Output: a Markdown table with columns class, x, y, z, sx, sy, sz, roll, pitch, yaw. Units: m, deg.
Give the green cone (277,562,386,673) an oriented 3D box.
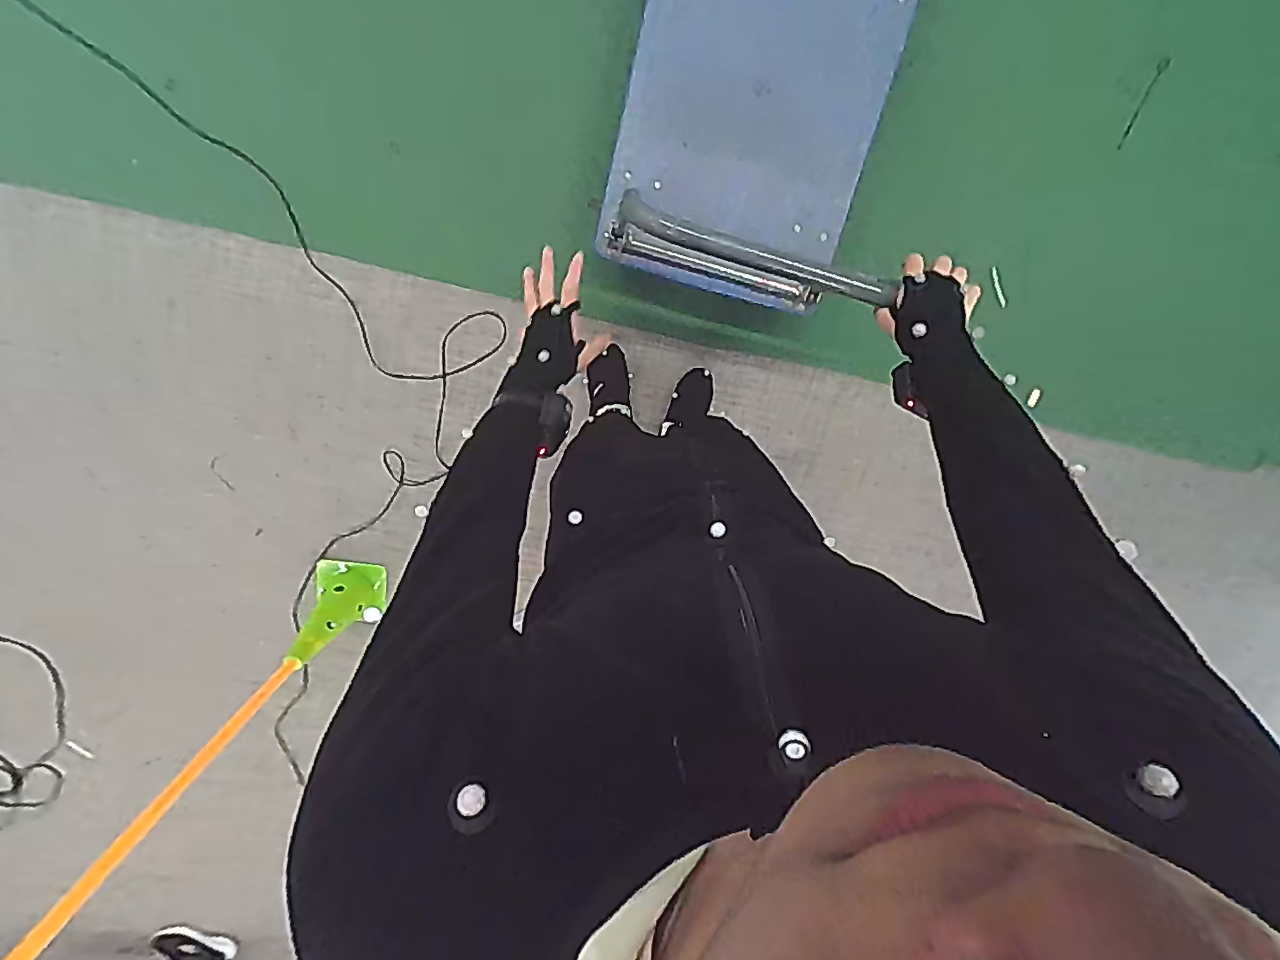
| class | x | y | z | sx | sy | sz | roll | pitch | yaw |
| --- | --- | --- | --- | --- | --- | --- | --- | --- | --- |
| green cone | -0.869 | 0.399 | 1.488 | 0.202 | 0.368 | 0.200 | 8 | 106 | -6 |
